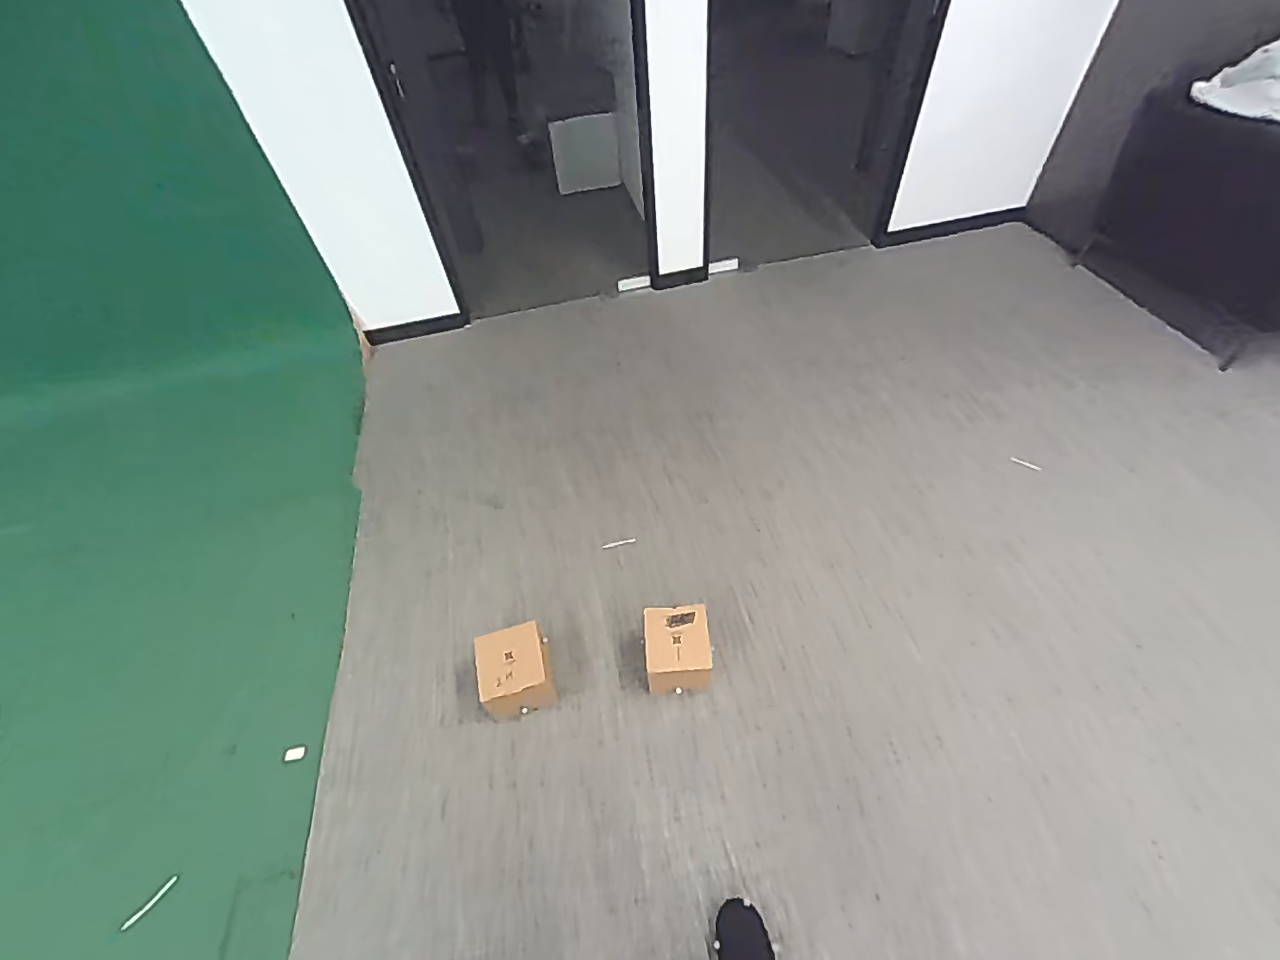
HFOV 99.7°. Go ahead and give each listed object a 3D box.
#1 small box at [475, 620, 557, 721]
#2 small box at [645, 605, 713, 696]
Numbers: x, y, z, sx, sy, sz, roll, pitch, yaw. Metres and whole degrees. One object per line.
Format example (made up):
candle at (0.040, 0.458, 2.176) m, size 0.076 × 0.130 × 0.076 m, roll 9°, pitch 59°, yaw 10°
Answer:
small box at (-0.326, 0.503, 1.424) m, size 0.168 × 0.176 × 0.179 m, roll -15°, pitch 50°, yaw -7°
small box at (0.099, 0.452, 1.430) m, size 0.168 × 0.176 × 0.179 m, roll -4°, pitch 50°, yaw 2°
